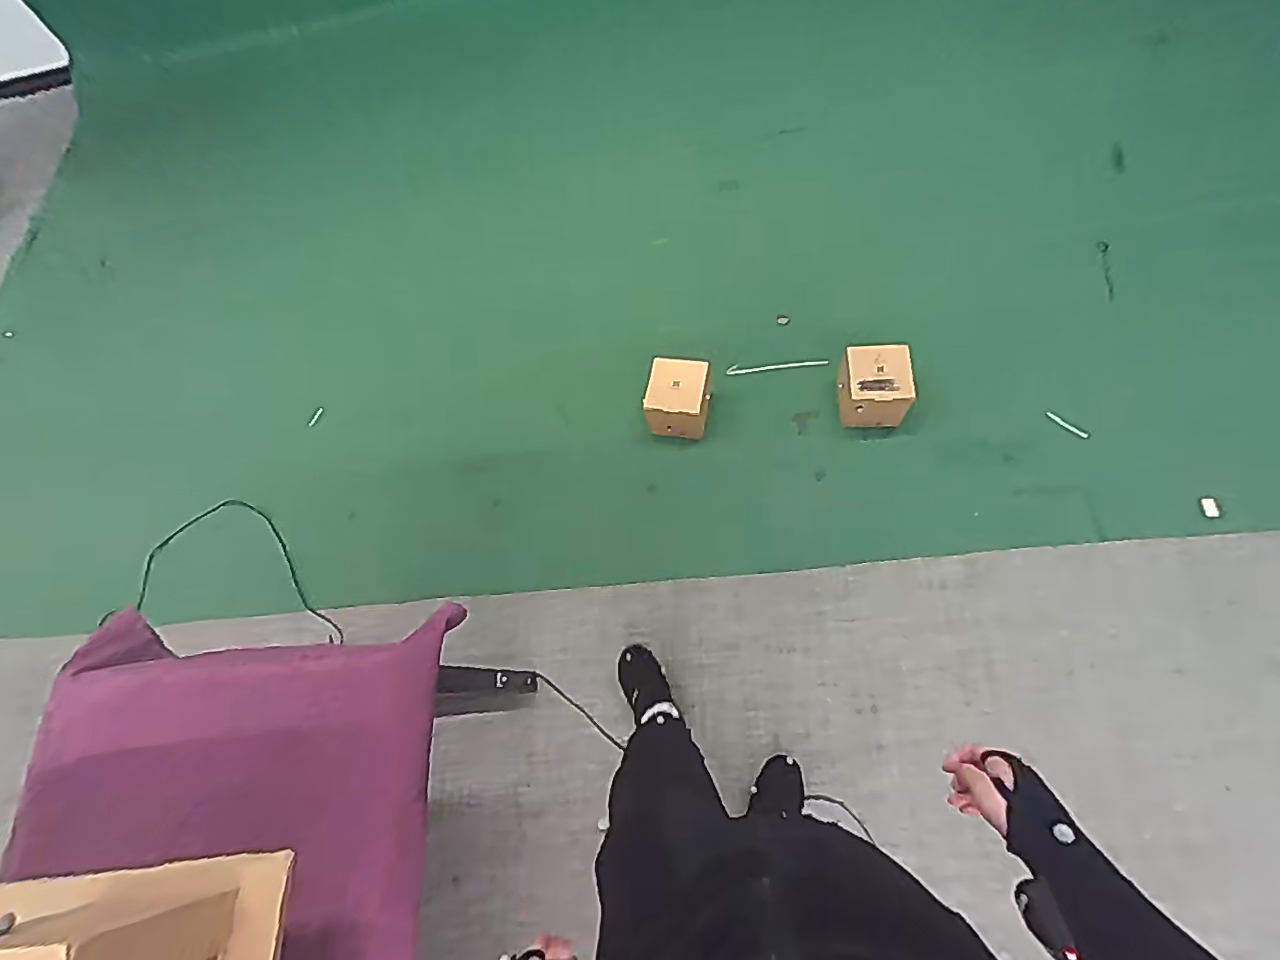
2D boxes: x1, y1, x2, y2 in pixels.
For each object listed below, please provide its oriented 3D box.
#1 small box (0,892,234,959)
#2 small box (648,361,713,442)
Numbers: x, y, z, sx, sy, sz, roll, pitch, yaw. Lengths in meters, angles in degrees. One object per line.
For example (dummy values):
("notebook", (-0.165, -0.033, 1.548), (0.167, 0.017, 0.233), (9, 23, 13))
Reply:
("small box", (-0.526, 0.497, 0.487), (0.179, 0.176, 0.168), (-8, 65, 5))
("small box", (0.129, -0.236, 1.648), (0.168, 0.176, 0.179), (8, 71, 12))
